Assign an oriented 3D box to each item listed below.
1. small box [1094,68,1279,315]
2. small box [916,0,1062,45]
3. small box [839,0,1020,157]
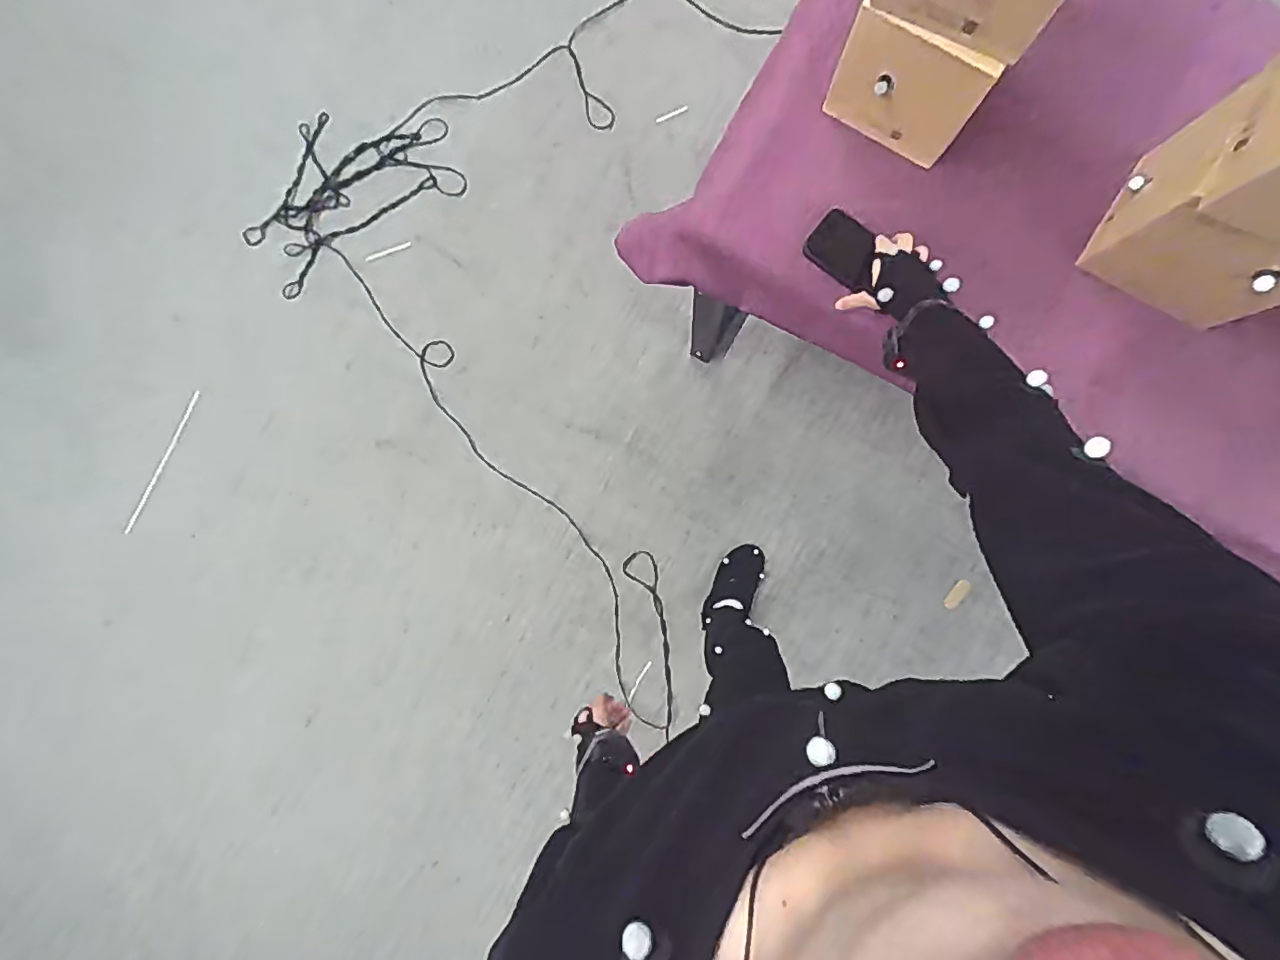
[{"bbox_3d":[0.675,-0.305,0.594,0.179,0.176,0.168,32,91,6],"label":"small box"},{"bbox_3d":[0.345,-0.541,0.469,0.168,0.176,0.179,27,91,5],"label":"small box"},{"bbox_3d":[0.356,-0.529,0.632,0.168,0.176,0.179,32,91,6],"label":"small box"}]
